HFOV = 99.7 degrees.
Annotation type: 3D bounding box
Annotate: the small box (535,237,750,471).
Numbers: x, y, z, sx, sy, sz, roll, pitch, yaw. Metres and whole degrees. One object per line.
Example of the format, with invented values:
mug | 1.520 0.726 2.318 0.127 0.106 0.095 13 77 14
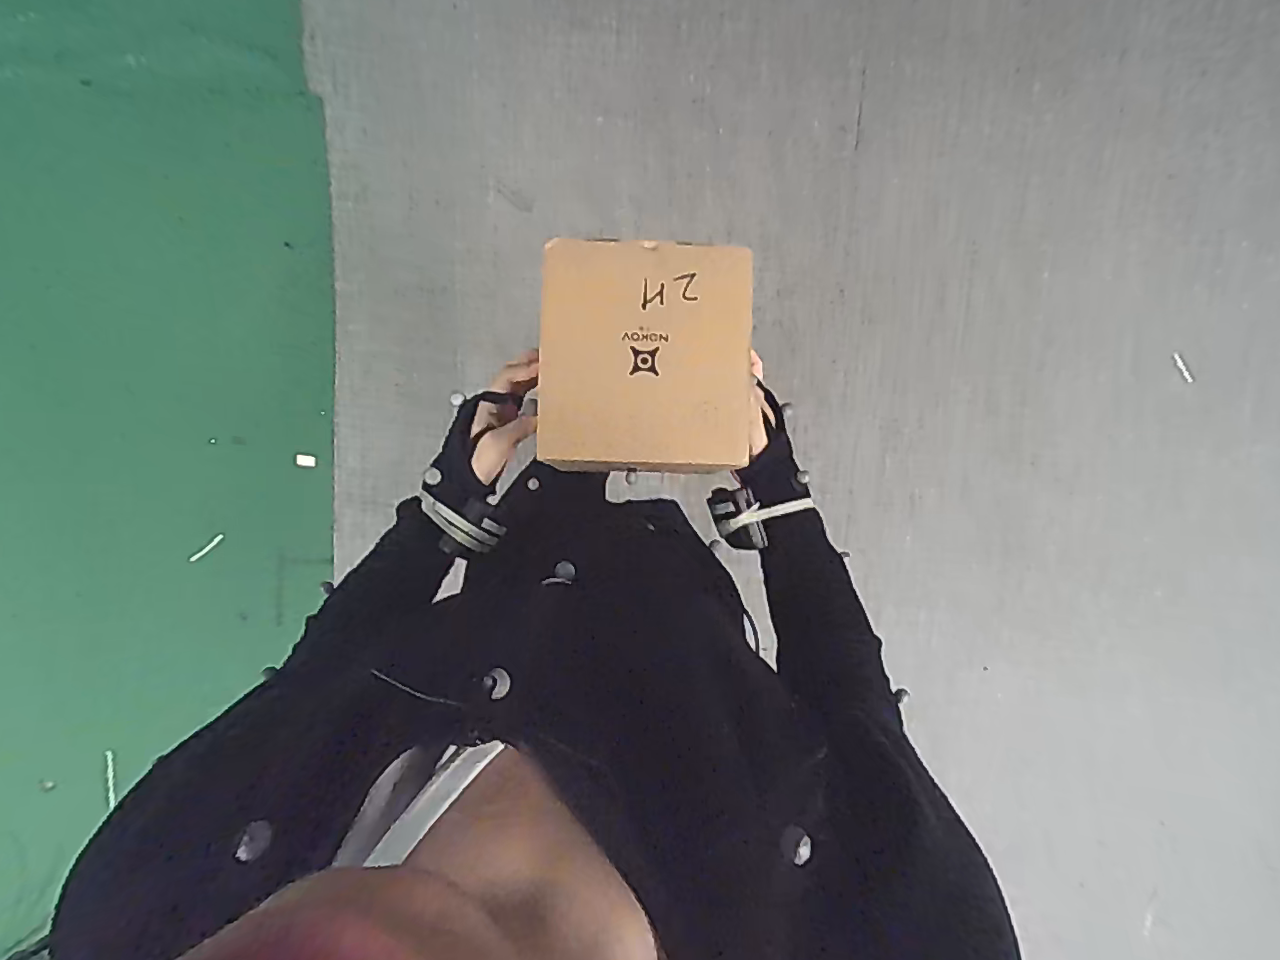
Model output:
small box | 0.000 -0.100 0.506 0.168 0.176 0.179 2 88 -3
